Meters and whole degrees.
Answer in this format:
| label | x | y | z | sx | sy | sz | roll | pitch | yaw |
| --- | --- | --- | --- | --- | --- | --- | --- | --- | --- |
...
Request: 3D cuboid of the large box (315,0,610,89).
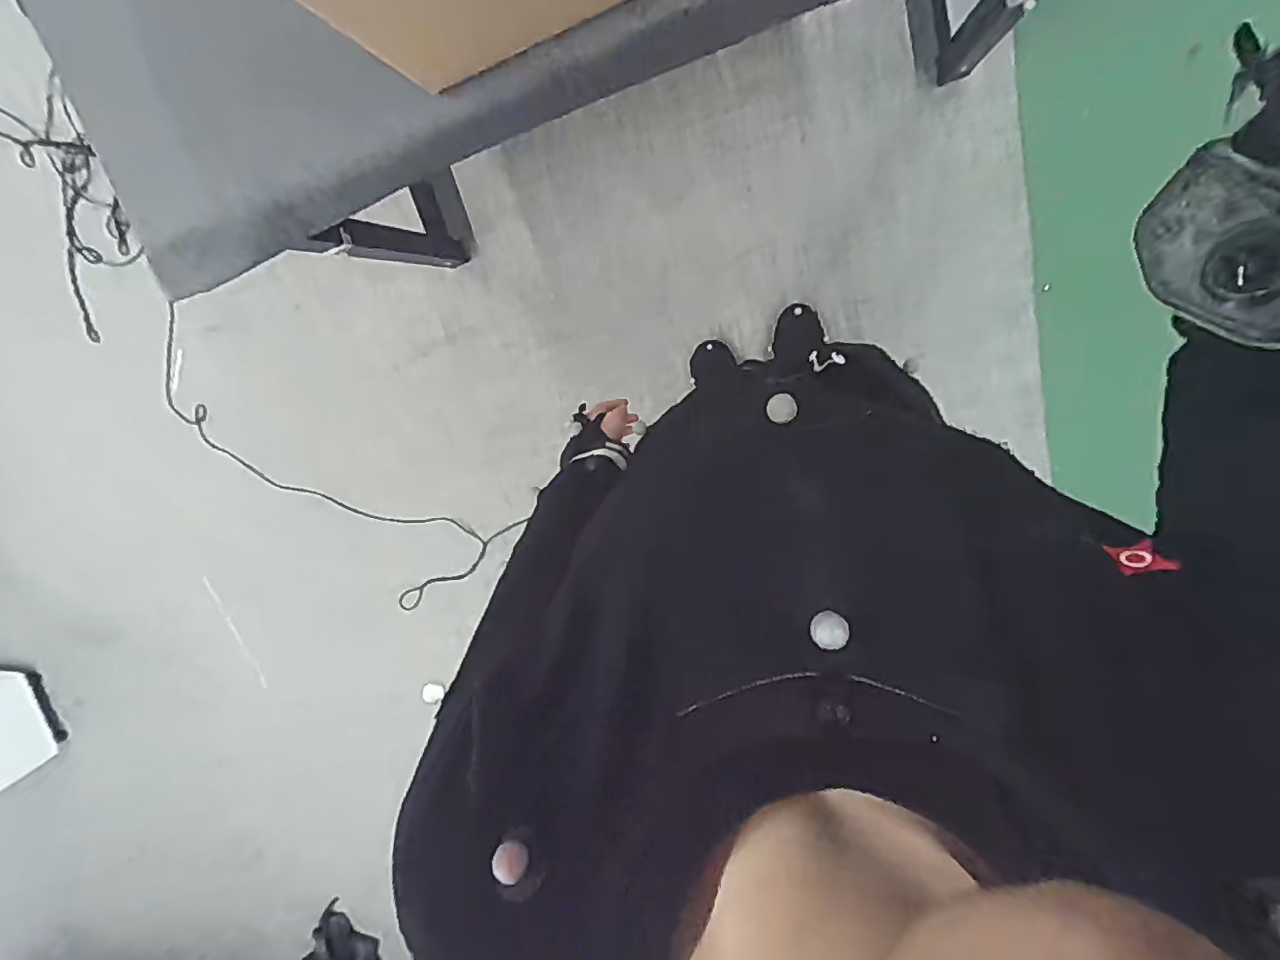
| label | x | y | z | sx | sy | sz | roll | pitch | yaw |
| --- | --- | --- | --- | --- | --- | --- | --- | --- | --- |
| large box | -0.105 | -0.552 | 0.342 | 0.408 | 0.320 | 0.320 | -15 | 103 | 14 |
